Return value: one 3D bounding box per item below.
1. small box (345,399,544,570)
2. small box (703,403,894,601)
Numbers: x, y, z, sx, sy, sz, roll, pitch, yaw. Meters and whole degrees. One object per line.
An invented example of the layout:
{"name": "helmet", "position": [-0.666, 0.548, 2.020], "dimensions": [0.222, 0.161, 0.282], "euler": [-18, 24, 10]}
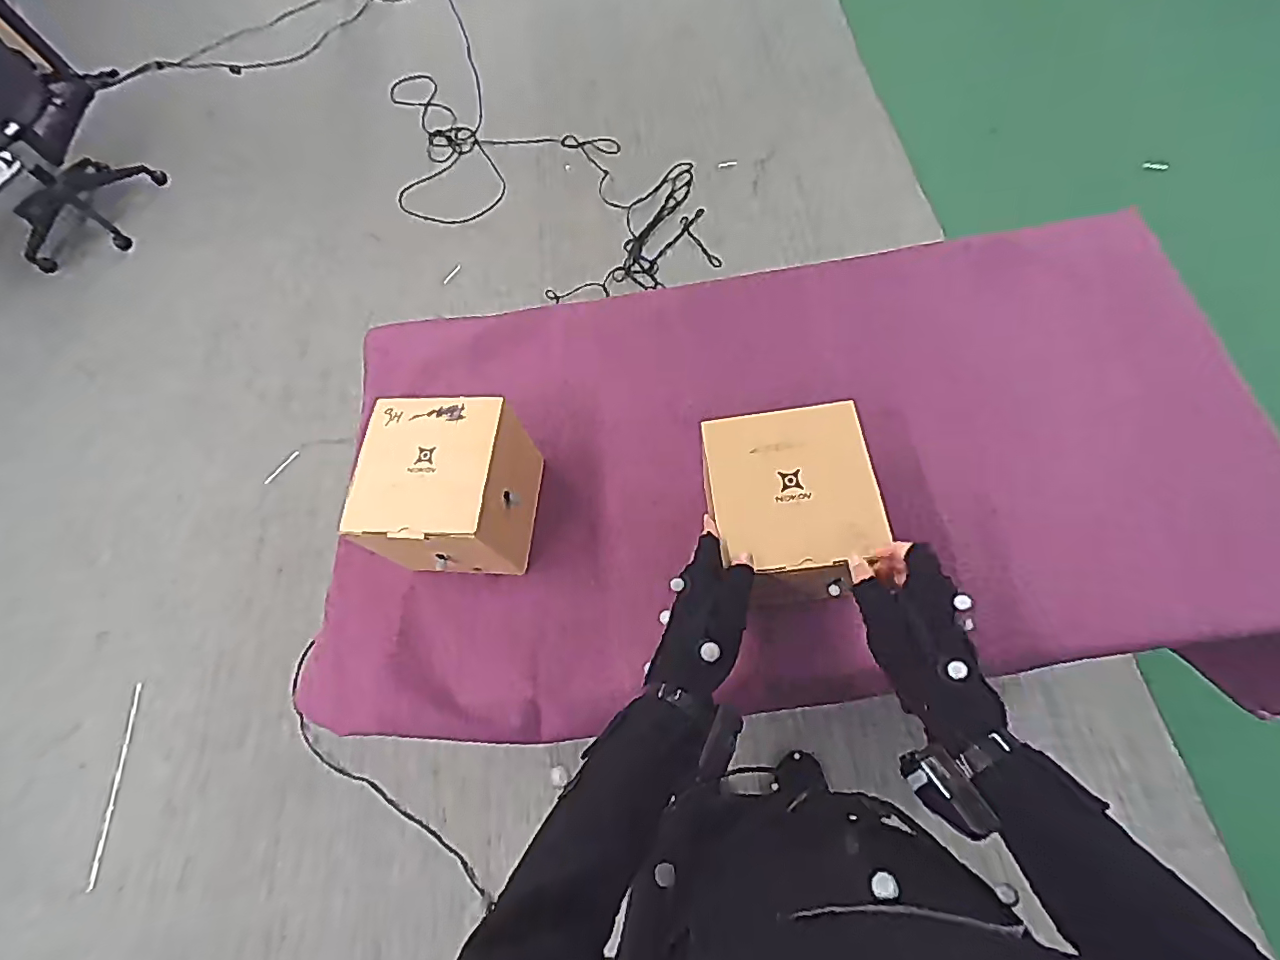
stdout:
{"name": "small box", "position": [-0.232, 0.013, 0.693], "dimensions": [0.168, 0.176, 0.179], "euler": [1, 67, 9]}
{"name": "small box", "position": [0.167, 0.037, 0.621], "dimensions": [0.168, 0.176, 0.179], "euler": [-7, 65, 5]}
